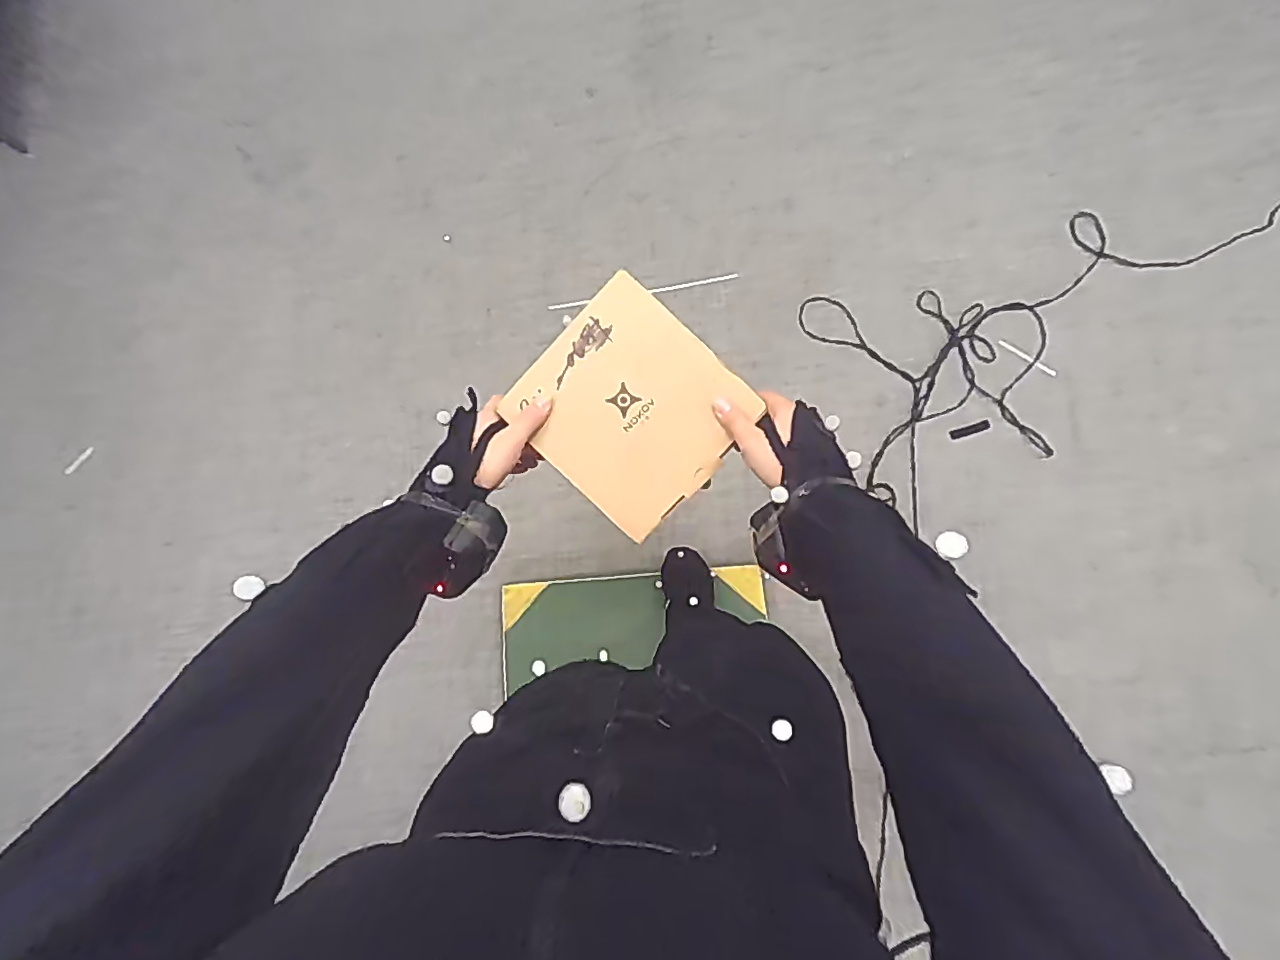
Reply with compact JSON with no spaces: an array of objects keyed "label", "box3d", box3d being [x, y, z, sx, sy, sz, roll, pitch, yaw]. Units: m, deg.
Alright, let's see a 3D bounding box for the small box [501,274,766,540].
[{"label":"small box","box3d":[-0.003,-0.068,0.549,0.179,0.176,0.168,44,93,-1]}]
